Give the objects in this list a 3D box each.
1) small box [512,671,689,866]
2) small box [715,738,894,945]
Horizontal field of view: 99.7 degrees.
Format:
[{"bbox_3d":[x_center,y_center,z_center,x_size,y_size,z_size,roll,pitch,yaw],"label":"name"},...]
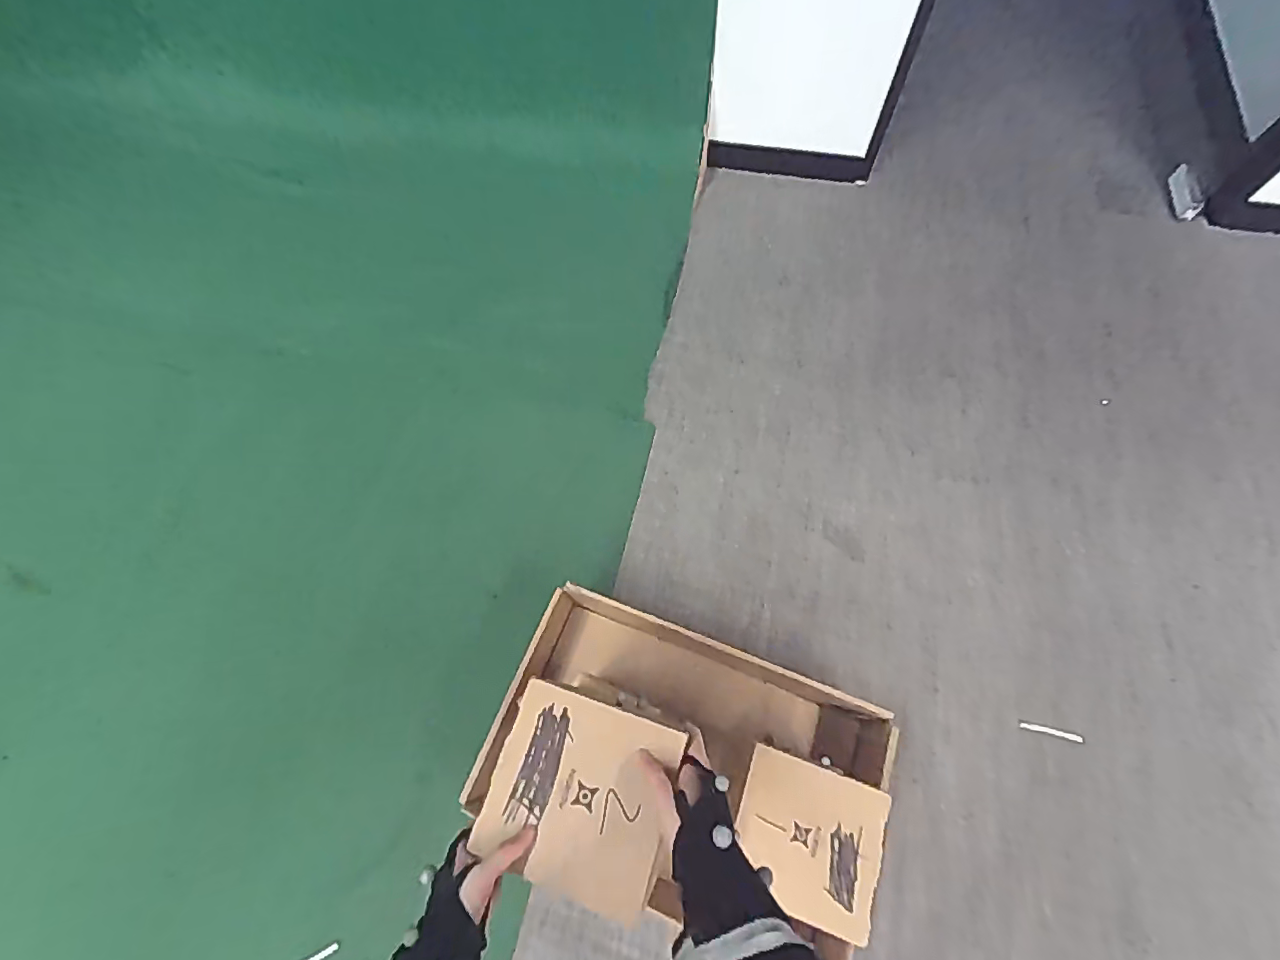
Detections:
[{"bbox_3d":[-0.049,0.398,0.772,0.179,0.176,0.168,30,71,12],"label":"small box"},{"bbox_3d":[0.210,0.462,0.728,0.179,0.176,0.168,17,69,12],"label":"small box"}]
